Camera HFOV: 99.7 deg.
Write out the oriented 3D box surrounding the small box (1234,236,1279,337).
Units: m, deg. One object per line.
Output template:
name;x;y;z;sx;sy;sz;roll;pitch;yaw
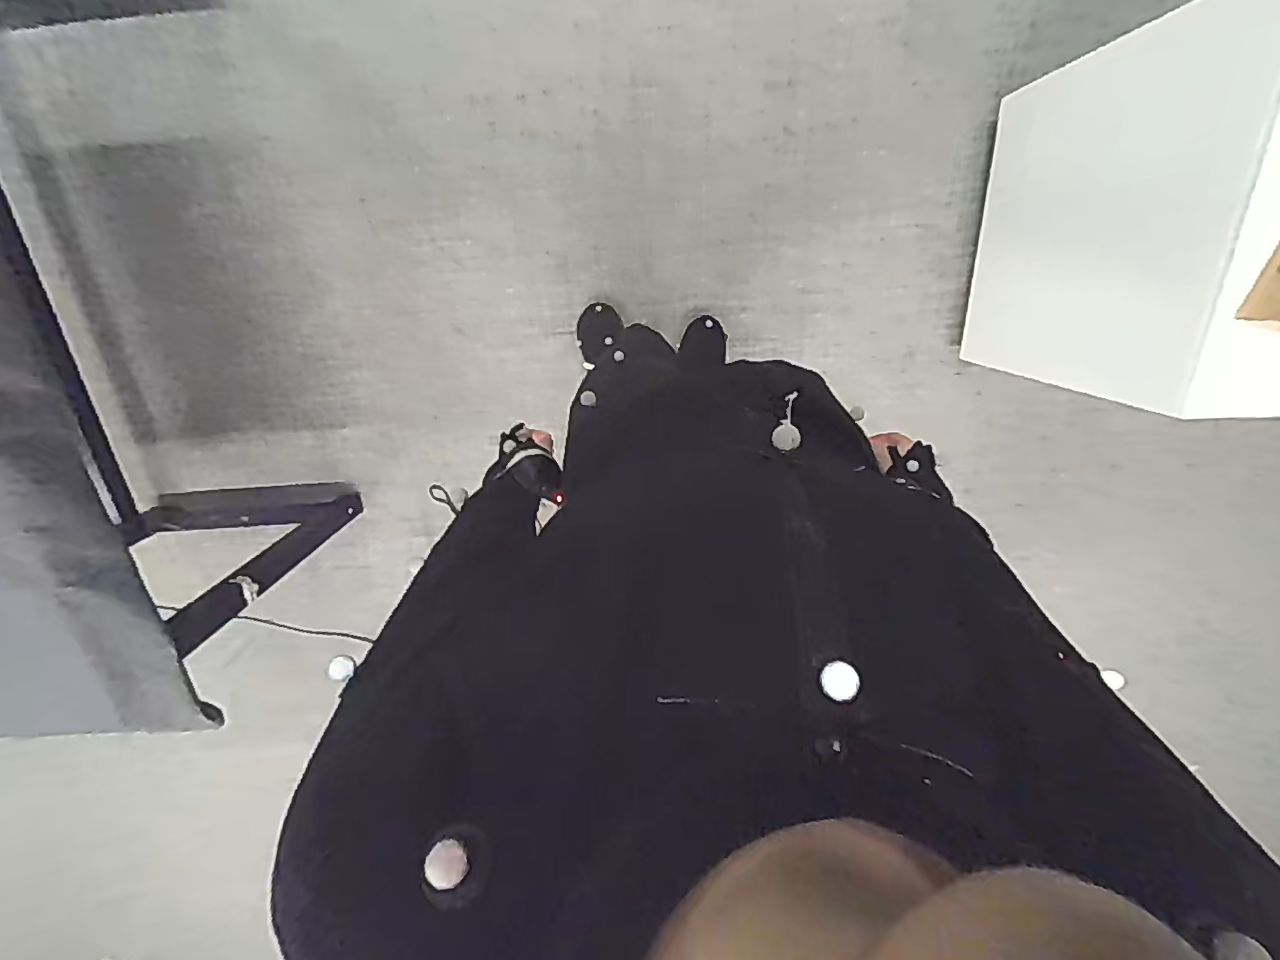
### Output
small box;0.830;-0.222;0.573;0.179;0.176;0.168;13;110;-4
